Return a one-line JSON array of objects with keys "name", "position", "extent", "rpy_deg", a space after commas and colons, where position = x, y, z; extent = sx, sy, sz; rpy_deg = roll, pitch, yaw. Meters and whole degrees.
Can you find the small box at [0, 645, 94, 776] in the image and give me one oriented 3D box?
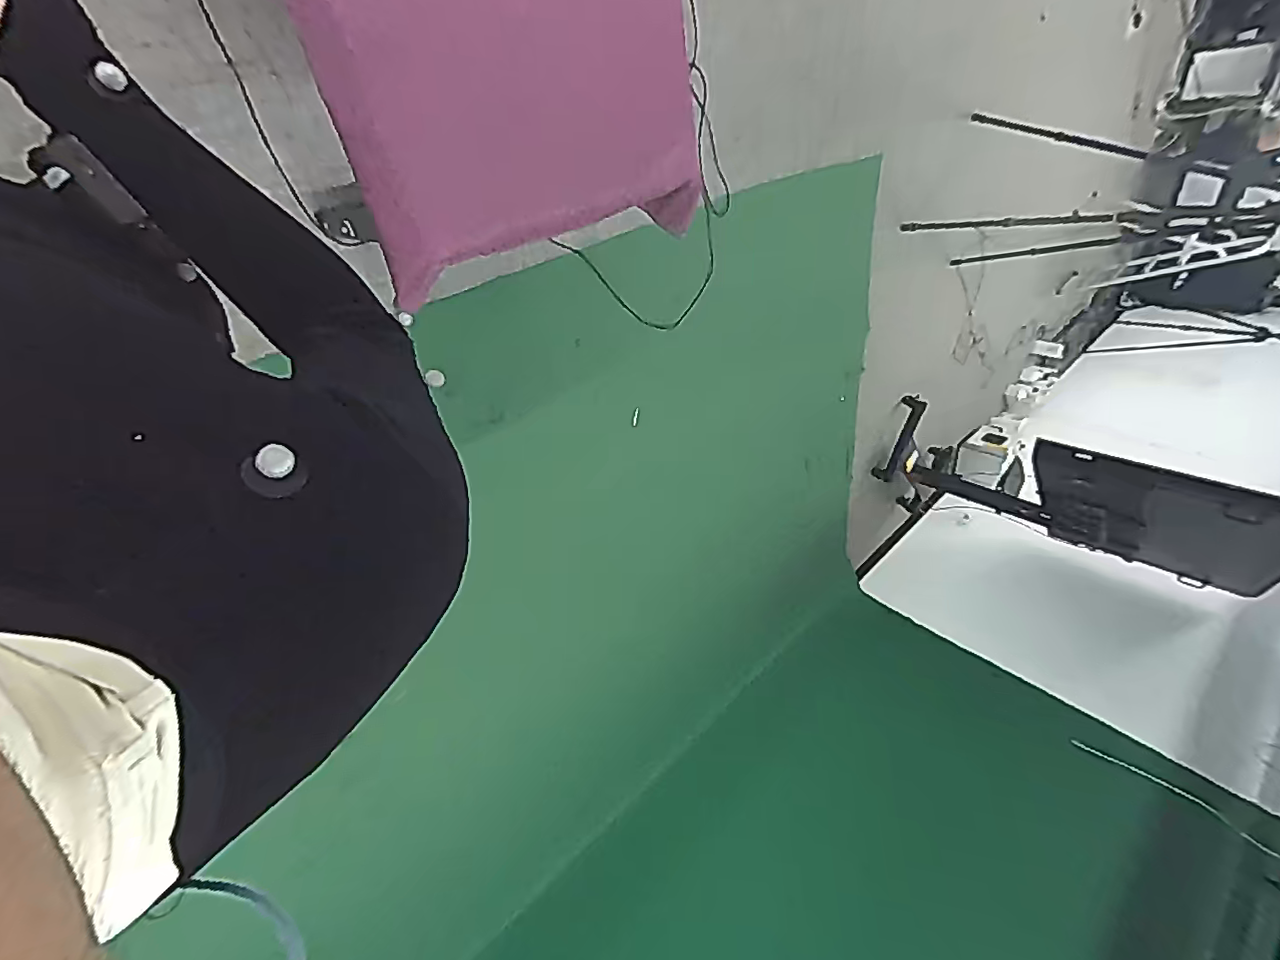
[{"name": "small box", "position": [-1.387, 0.510, 1.218], "extent": [0.168, 0.176, 0.179], "rpy_deg": [-30, 129, -29]}]
